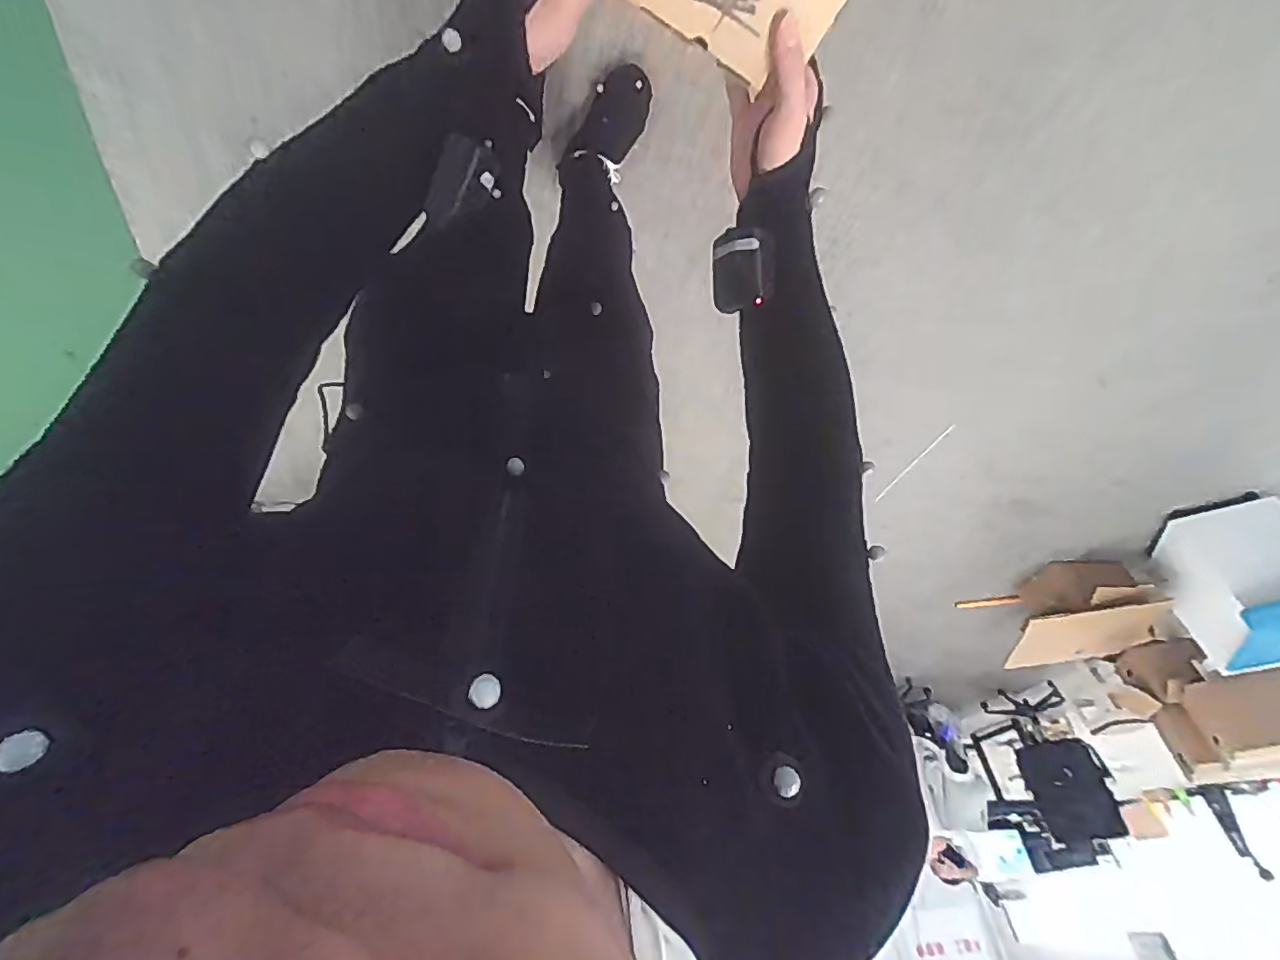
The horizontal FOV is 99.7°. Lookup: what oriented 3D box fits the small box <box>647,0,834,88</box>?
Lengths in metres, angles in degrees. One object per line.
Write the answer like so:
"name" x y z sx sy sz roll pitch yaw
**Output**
"small box" 0.072 -0.441 0.385 0.168 0.176 0.179 13 139 -28
